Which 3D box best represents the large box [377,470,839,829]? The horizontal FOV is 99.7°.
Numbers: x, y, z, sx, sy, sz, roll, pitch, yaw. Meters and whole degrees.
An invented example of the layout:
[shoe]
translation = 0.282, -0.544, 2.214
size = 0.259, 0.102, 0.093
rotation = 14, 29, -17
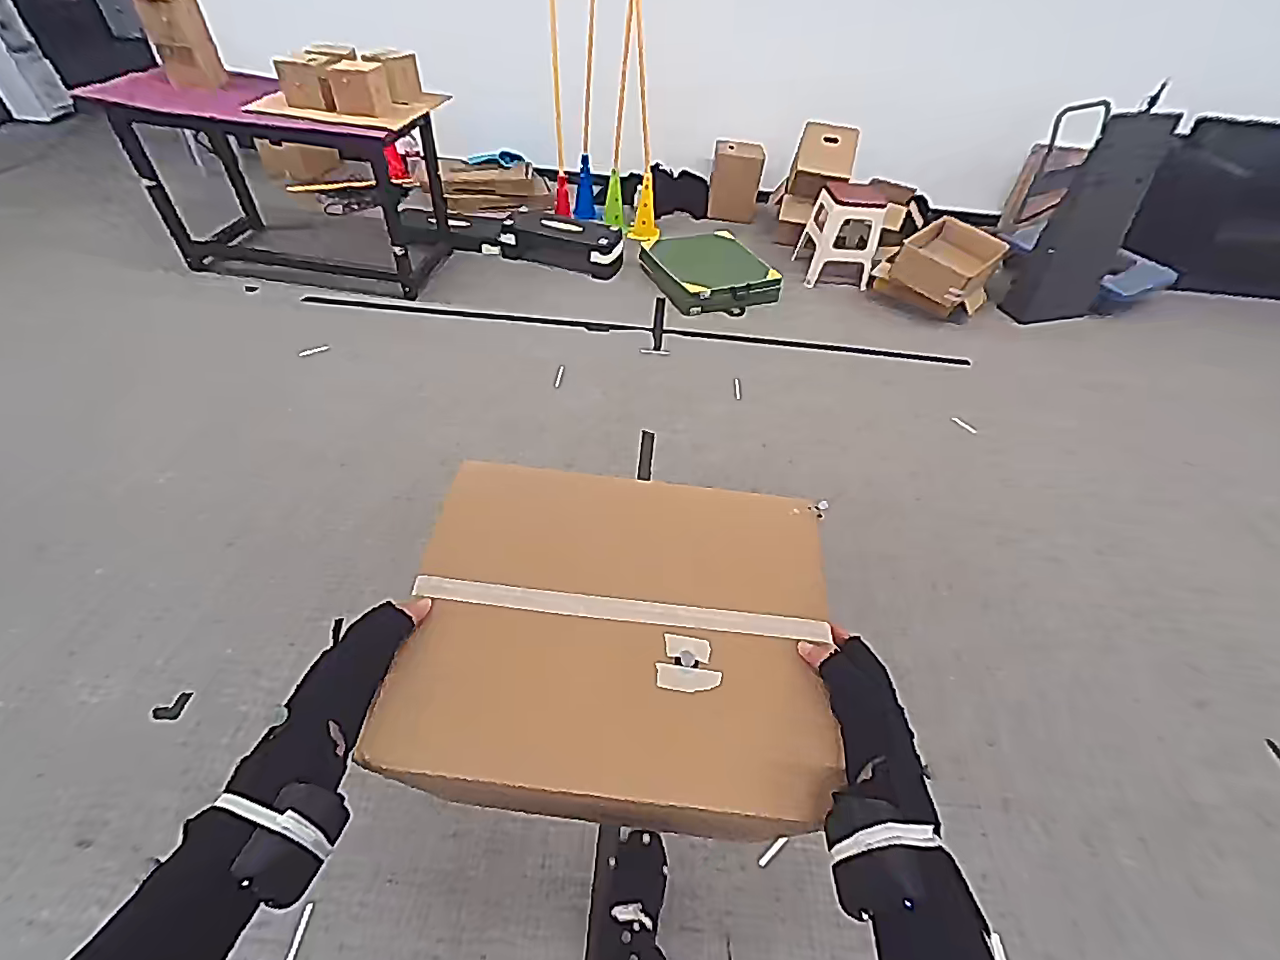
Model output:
[large box]
translation = -0.024, 0.217, 0.661
size = 0.408, 0.320, 0.320
rotation = 7, 55, 1
